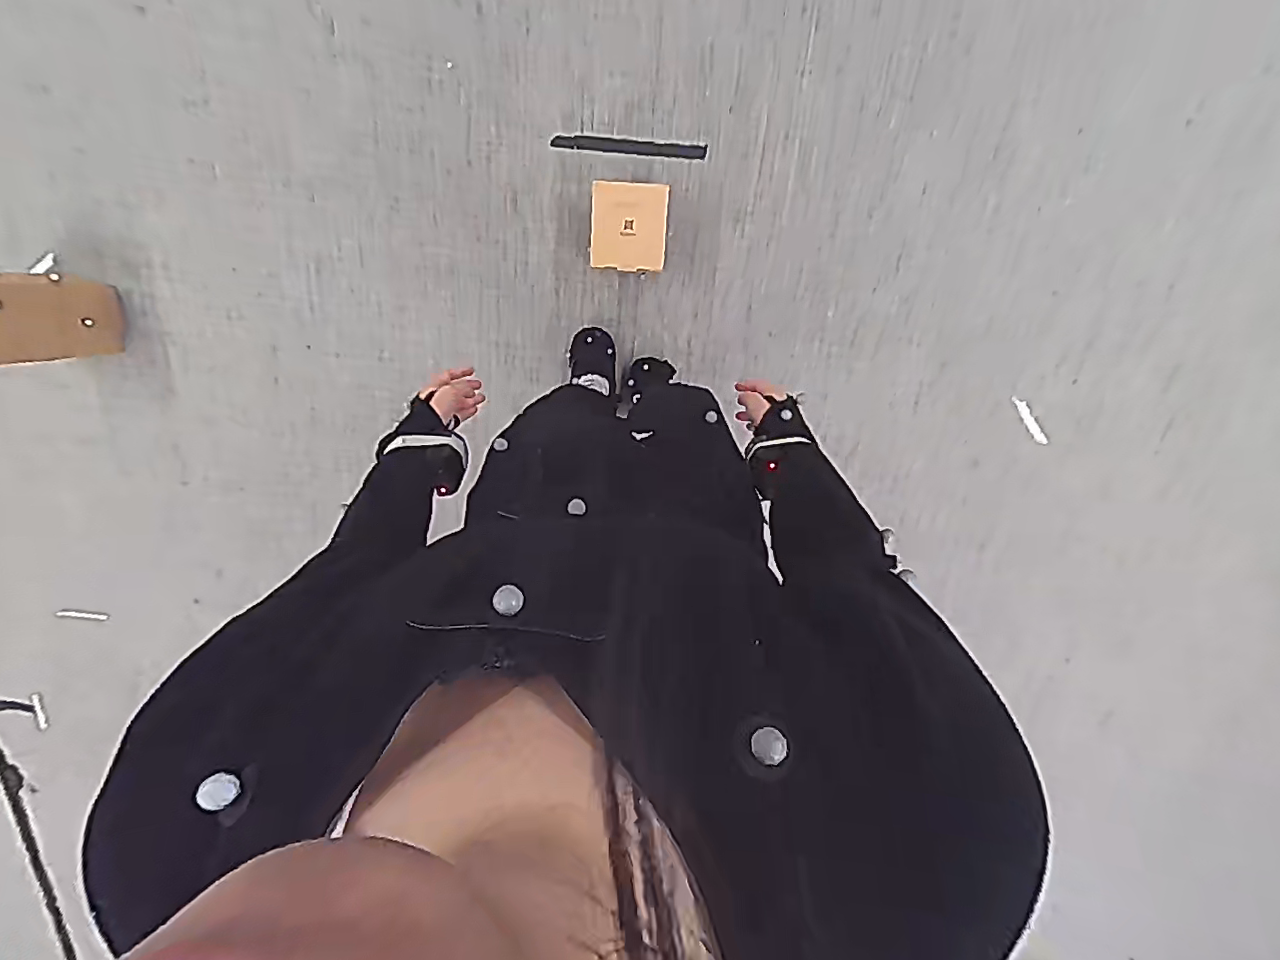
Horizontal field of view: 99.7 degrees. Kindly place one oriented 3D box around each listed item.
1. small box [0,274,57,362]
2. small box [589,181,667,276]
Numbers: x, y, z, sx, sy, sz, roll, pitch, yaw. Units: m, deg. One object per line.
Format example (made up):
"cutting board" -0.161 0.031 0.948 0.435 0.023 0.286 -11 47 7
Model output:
"small box" -1.432 -0.359 1.165 0.168 0.176 0.179 10 108 -2
"small box" -0.027 -0.574 1.254 0.168 0.176 0.179 3 107 -1
